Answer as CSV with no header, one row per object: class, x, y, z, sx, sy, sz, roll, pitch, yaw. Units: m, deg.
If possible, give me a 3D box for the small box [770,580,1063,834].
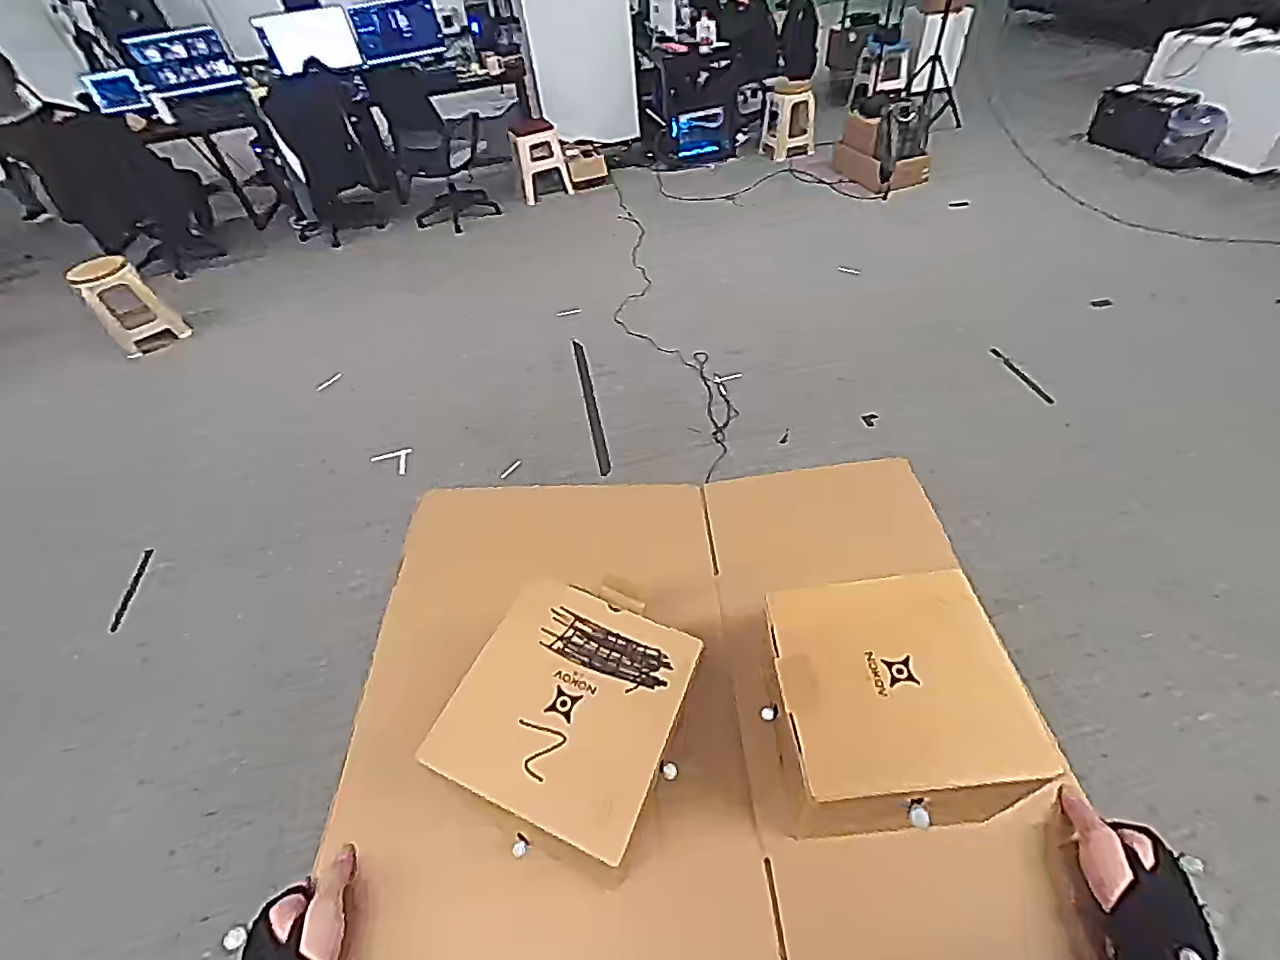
small box,0.224,0.214,0.499,0.179,0.176,0.168,-8,48,5
